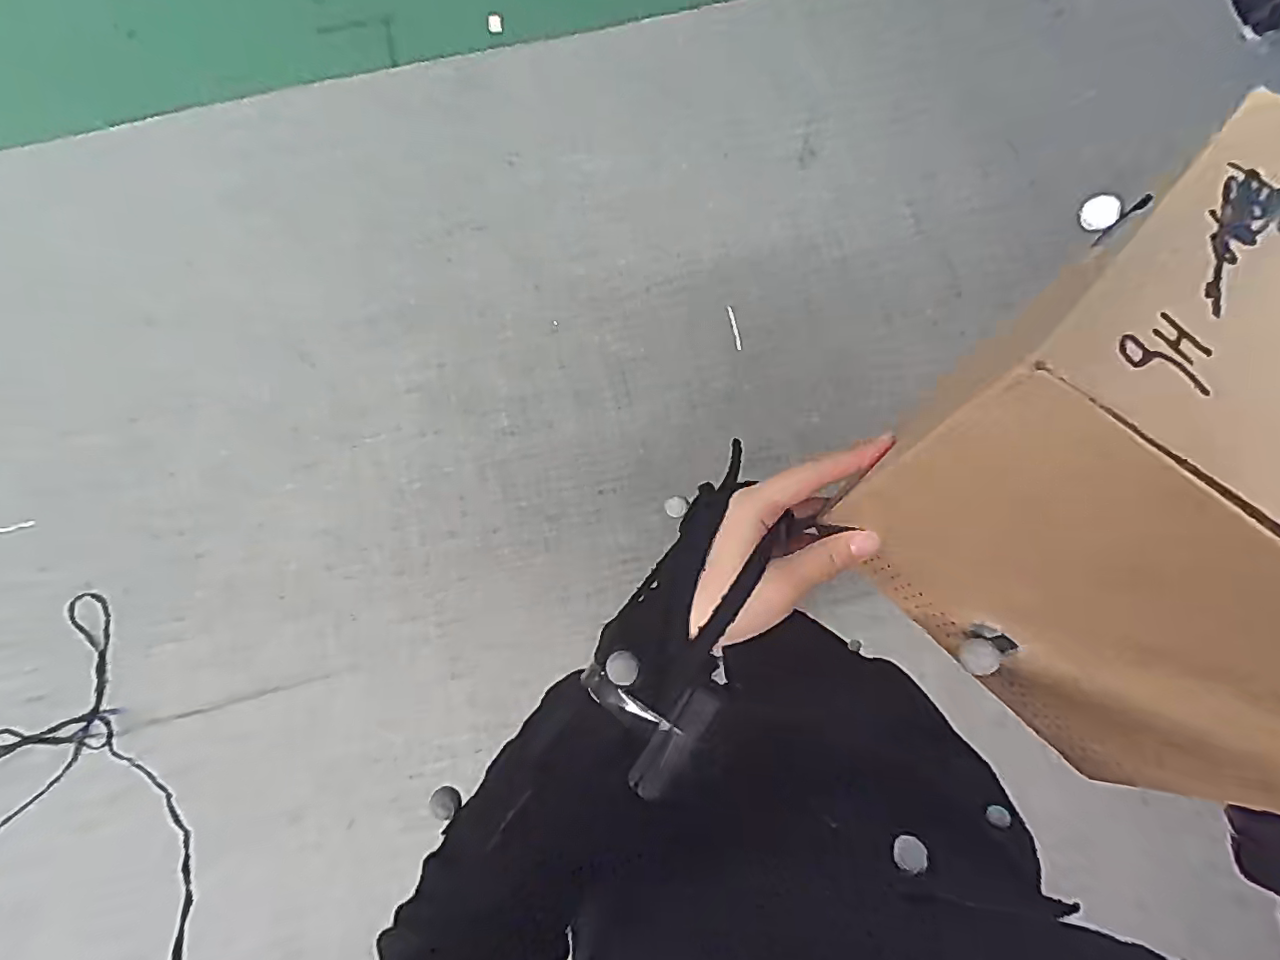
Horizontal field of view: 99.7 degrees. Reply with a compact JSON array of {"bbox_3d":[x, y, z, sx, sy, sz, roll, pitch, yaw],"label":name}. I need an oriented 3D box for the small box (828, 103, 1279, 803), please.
[{"bbox_3d":[0.219,0.004,0.226,0.168,0.176,0.179,-41,77,-17],"label":"small box"}]
